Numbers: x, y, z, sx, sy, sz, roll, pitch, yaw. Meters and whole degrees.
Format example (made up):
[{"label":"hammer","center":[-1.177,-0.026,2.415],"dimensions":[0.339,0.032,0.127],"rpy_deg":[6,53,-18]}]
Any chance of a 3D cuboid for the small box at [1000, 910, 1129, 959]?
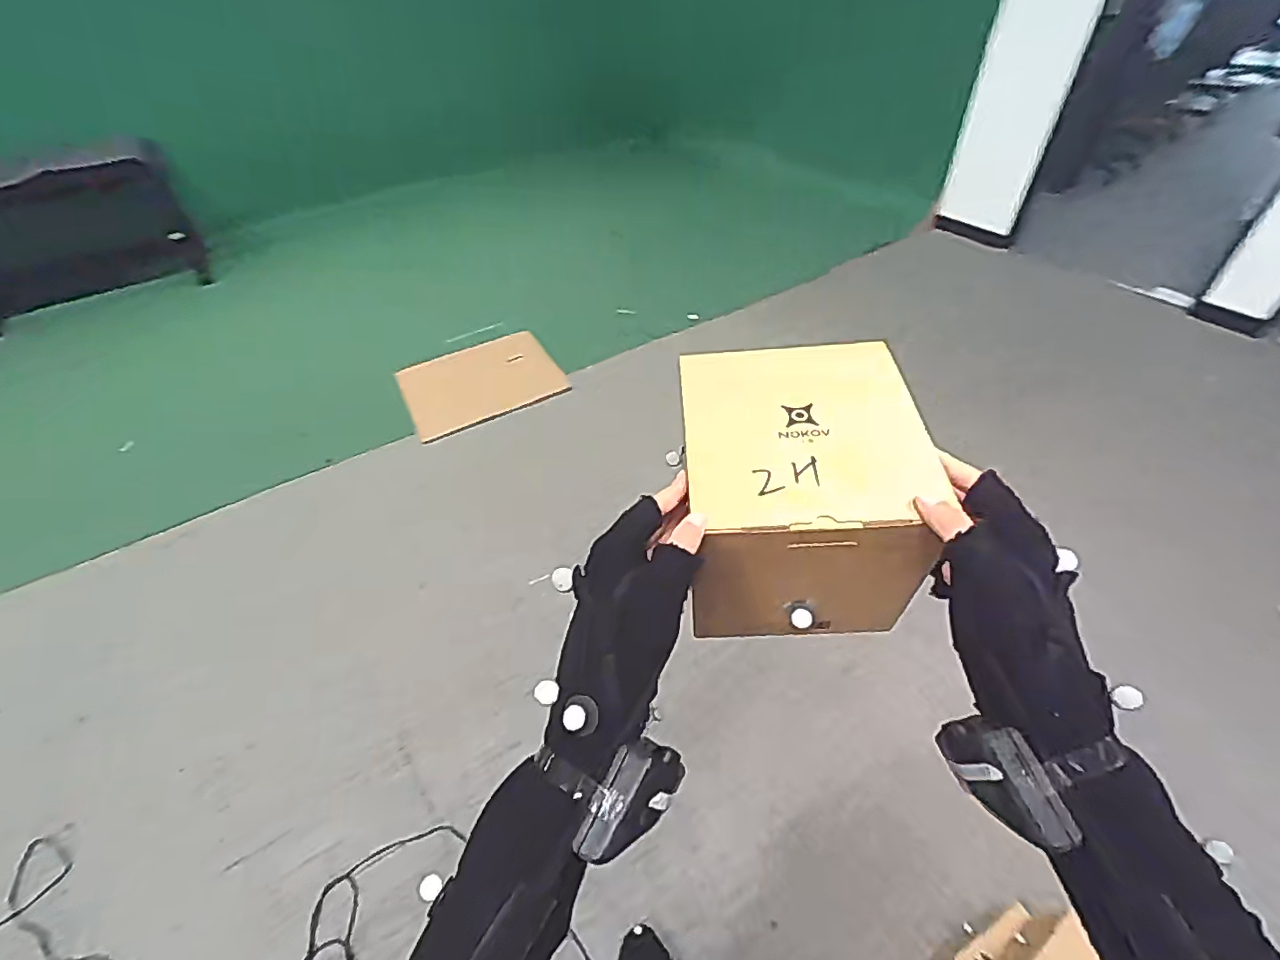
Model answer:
[{"label":"small box","center":[0.682,0.828,0.844],"dimensions":[0.179,0.176,0.168],"rpy_deg":[-27,50,-21]}]
